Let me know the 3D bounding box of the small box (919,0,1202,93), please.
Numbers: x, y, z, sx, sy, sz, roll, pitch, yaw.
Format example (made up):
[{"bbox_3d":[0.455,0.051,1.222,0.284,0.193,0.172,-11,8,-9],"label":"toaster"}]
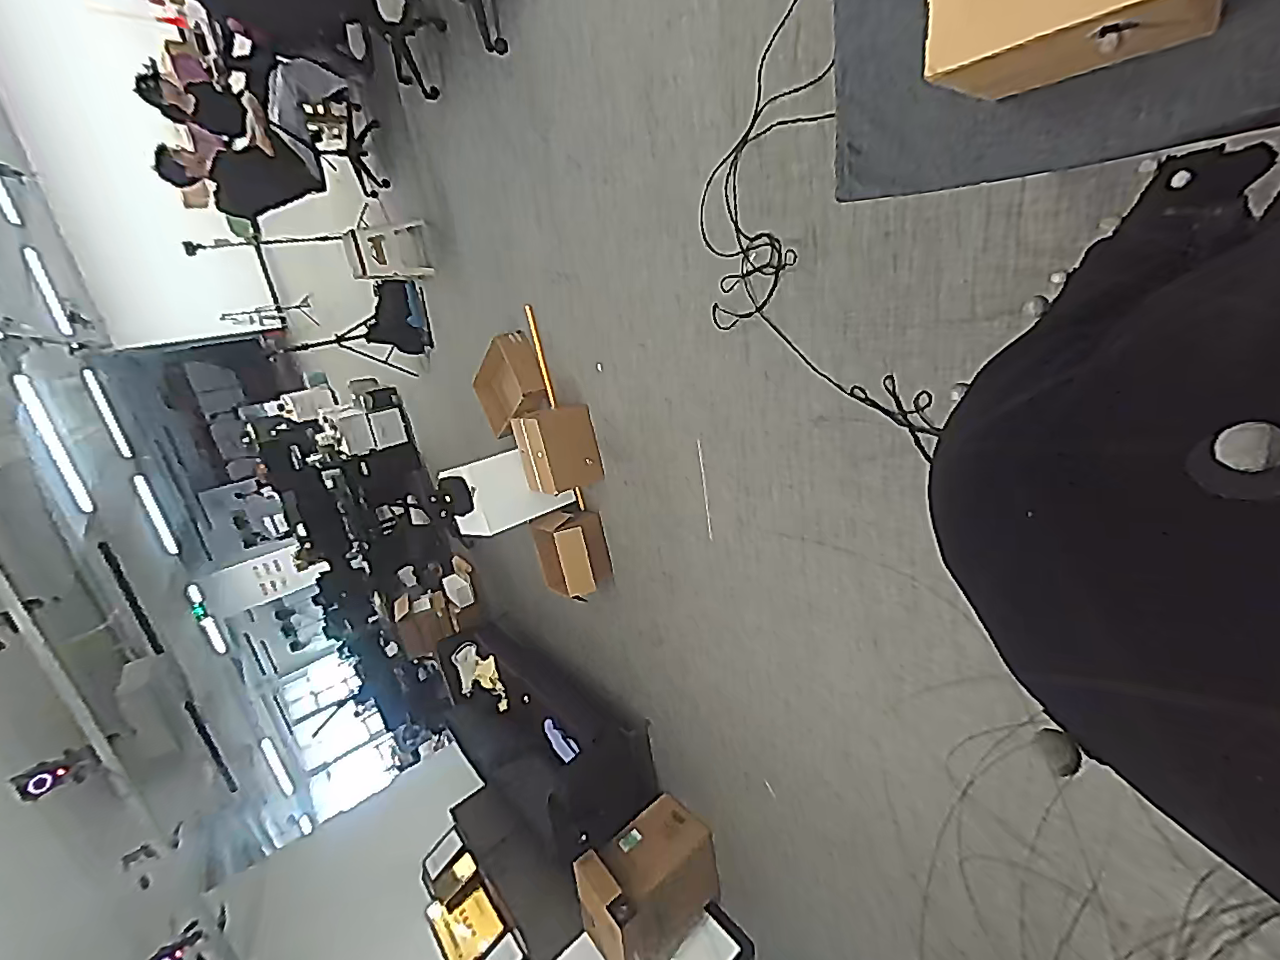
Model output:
[{"bbox_3d":[0.367,-0.459,0.461,0.179,0.176,0.168,16,119,49],"label":"small box"}]
